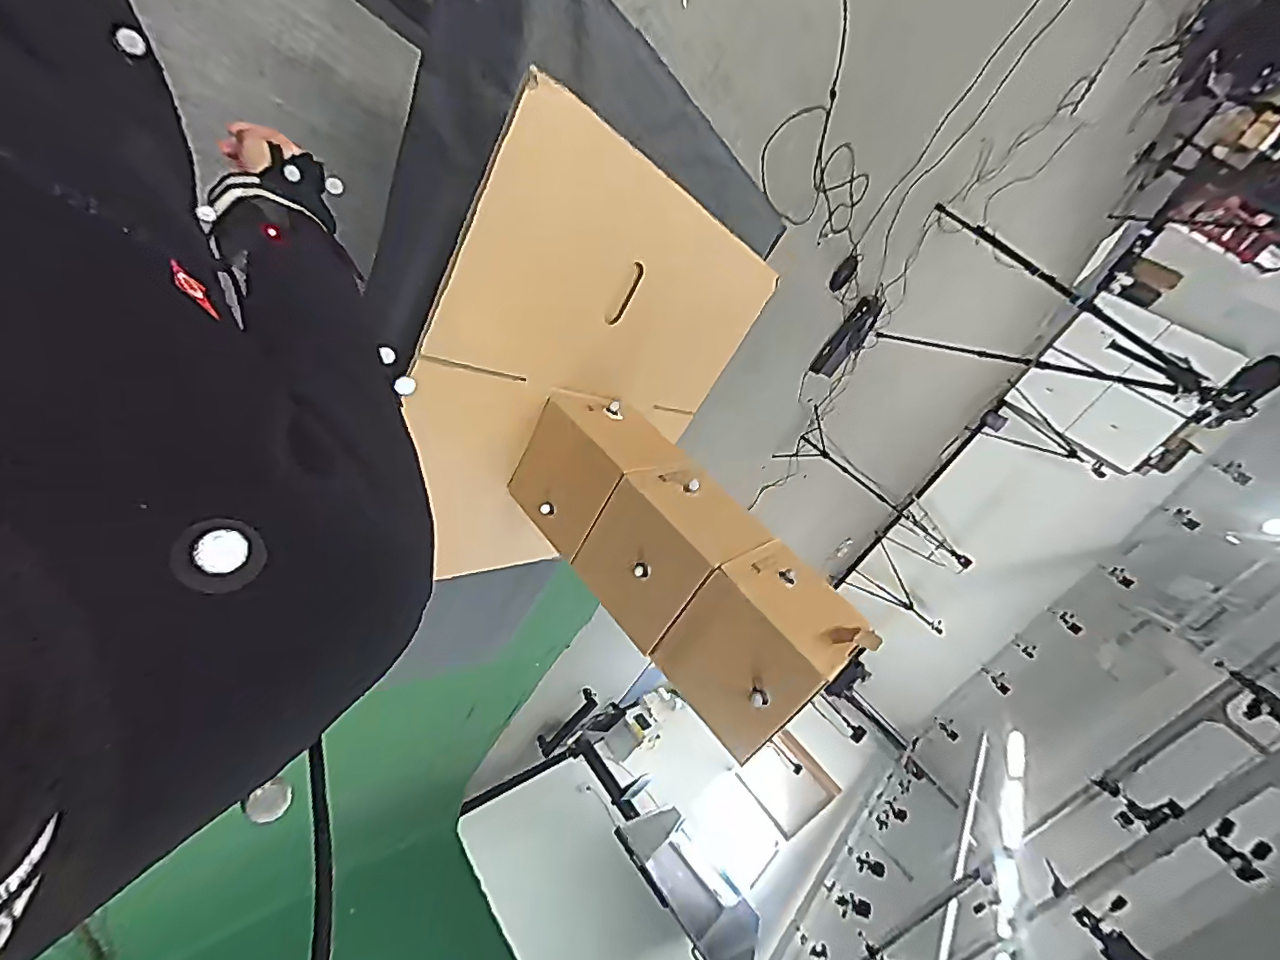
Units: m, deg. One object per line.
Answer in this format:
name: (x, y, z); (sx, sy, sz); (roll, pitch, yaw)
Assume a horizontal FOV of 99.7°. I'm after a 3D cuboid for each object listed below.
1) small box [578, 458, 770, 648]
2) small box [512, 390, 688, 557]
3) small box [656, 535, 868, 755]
small box: (0.039, 0.092, 0.750); (0.168, 0.176, 0.179); (-12, 139, -51)
small box: (-0.067, -0.015, 0.816); (0.168, 0.176, 0.179); (-11, 138, -52)
small box: (0.146, 0.198, 0.688); (0.168, 0.176, 0.179); (-12, 139, -51)
